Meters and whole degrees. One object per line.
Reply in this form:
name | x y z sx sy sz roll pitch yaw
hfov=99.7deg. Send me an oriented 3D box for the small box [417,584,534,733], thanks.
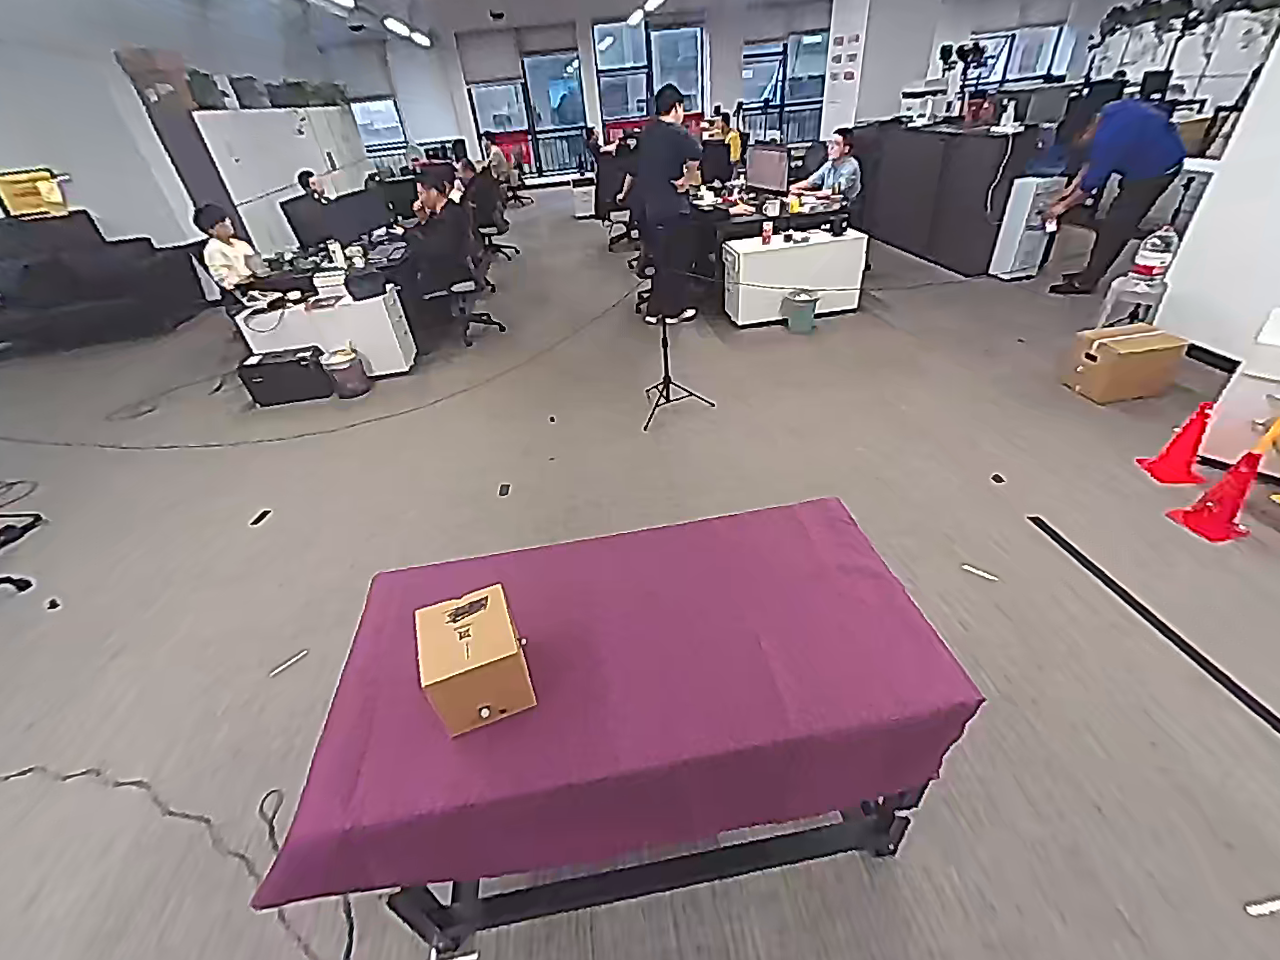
small box | -0.309 0.334 1.017 0.168 0.176 0.179 -17 38 -14
